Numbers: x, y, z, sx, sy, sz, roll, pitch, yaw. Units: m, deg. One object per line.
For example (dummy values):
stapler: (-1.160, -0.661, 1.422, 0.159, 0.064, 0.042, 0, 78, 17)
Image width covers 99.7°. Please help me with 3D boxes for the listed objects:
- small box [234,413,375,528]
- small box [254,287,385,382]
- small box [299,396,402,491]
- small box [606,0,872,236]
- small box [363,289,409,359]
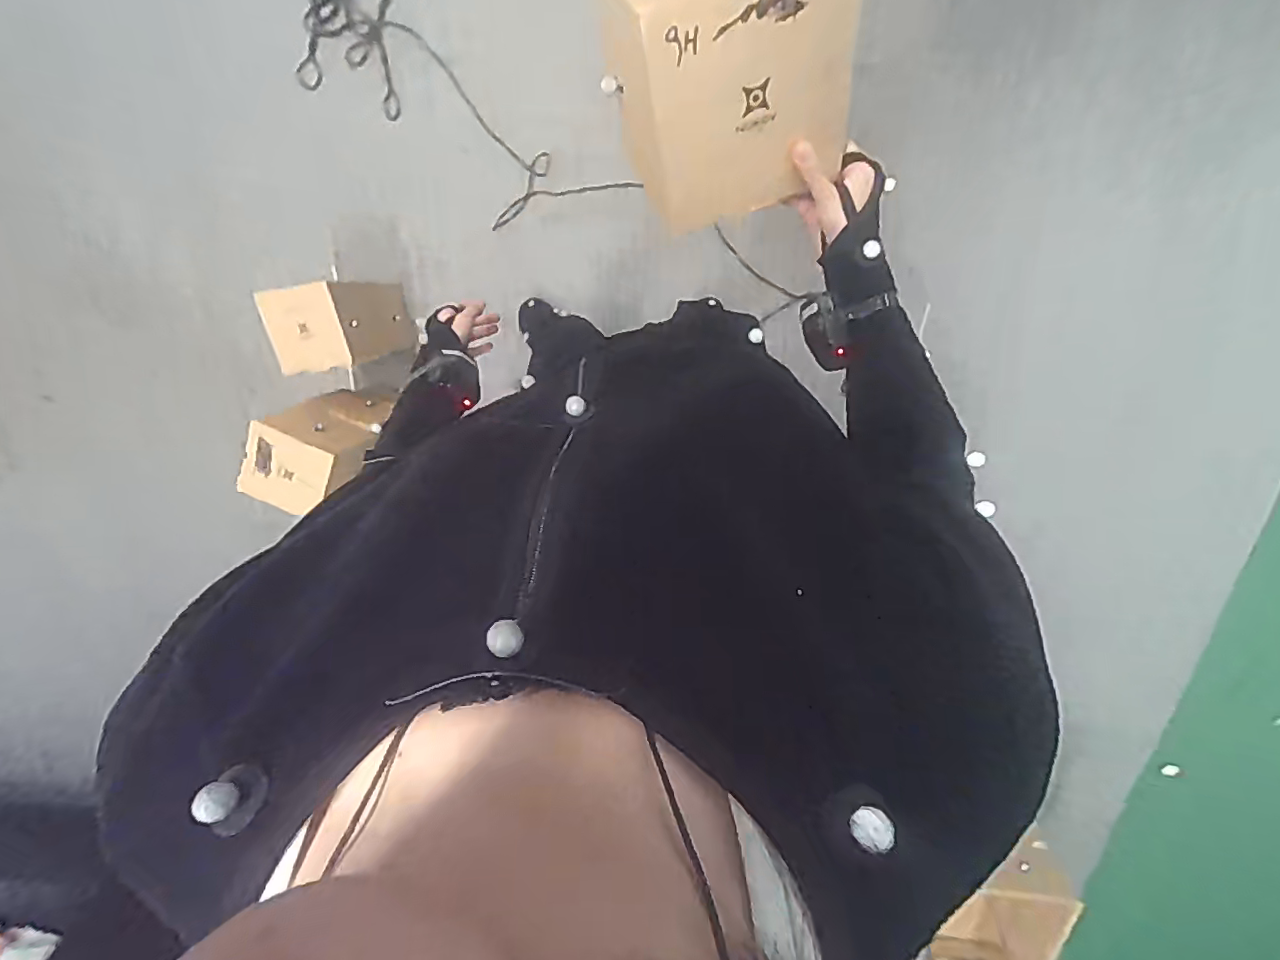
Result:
small box: (-0.708, -0.030, 1.154, 0.179, 0.176, 0.168, 25, 109, -5)
small box: (-0.708, -0.332, 1.219, 0.168, 0.176, 0.179, -7, 109, 6)
small box: (-0.704, -0.086, 1.308, 0.168, 0.176, 0.179, 20, 109, -2)
small box: (0.075, -0.358, 0.473, 0.168, 0.176, 0.179, -18, 148, 0)
small box: (-0.709, -0.393, 1.370, 0.179, 0.176, 0.168, -3, 109, 6)
